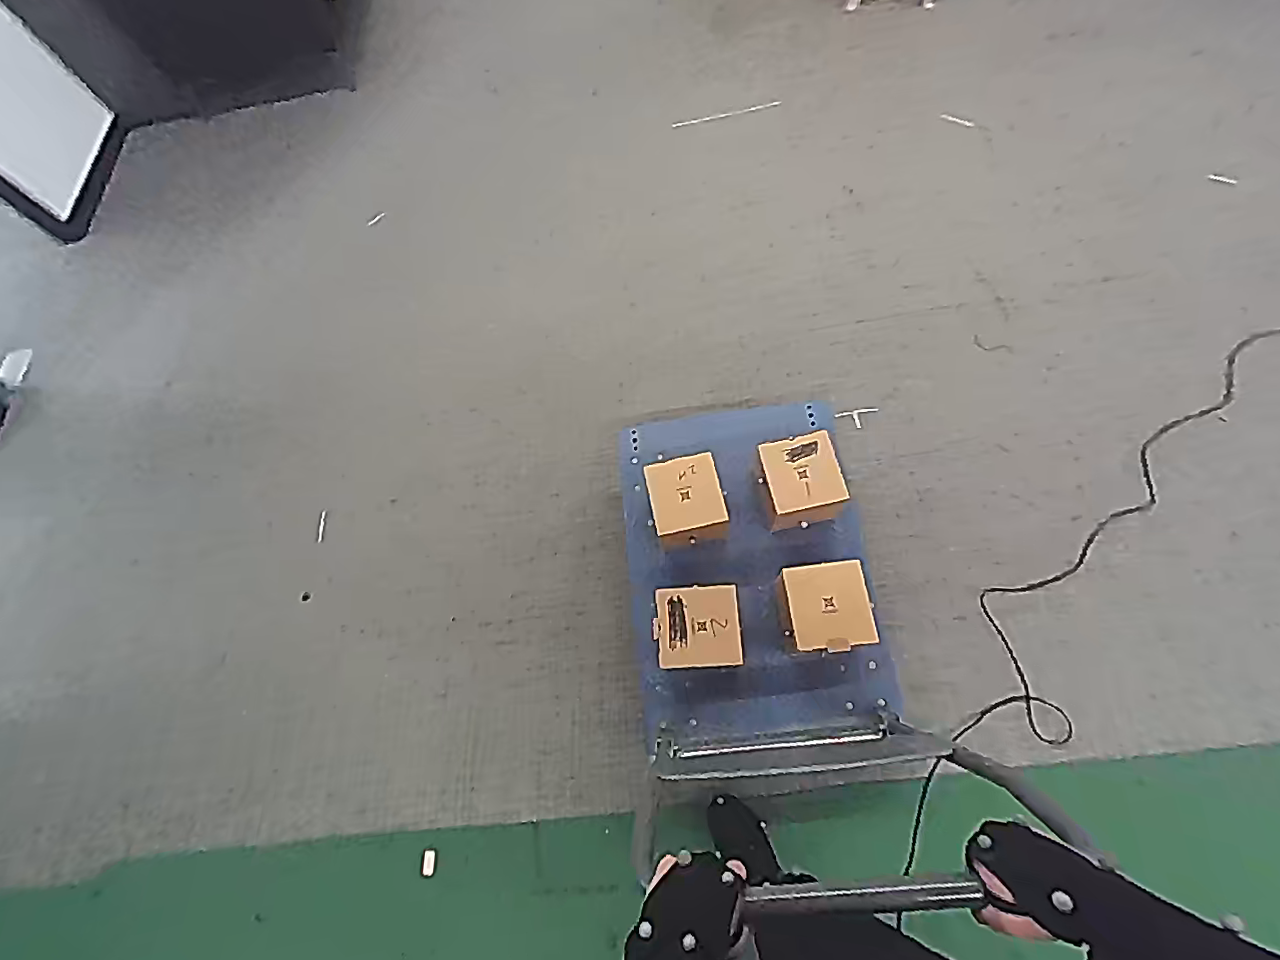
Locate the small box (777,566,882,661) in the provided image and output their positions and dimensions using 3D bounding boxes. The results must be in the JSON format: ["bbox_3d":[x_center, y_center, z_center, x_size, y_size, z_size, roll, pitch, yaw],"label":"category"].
[{"bbox_3d":[0.408,0.299,1.197,0.168,0.176,0.179,-8,70,4],"label":"small box"}]

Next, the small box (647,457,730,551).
[{"bbox_3d":[0.119,0.067,1.315,0.168,0.176,0.179,-12,69,2],"label":"small box"}]

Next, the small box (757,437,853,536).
[{"bbox_3d":[0.386,0.021,1.300,0.168,0.176,0.179,-12,70,3],"label":"small box"}]
